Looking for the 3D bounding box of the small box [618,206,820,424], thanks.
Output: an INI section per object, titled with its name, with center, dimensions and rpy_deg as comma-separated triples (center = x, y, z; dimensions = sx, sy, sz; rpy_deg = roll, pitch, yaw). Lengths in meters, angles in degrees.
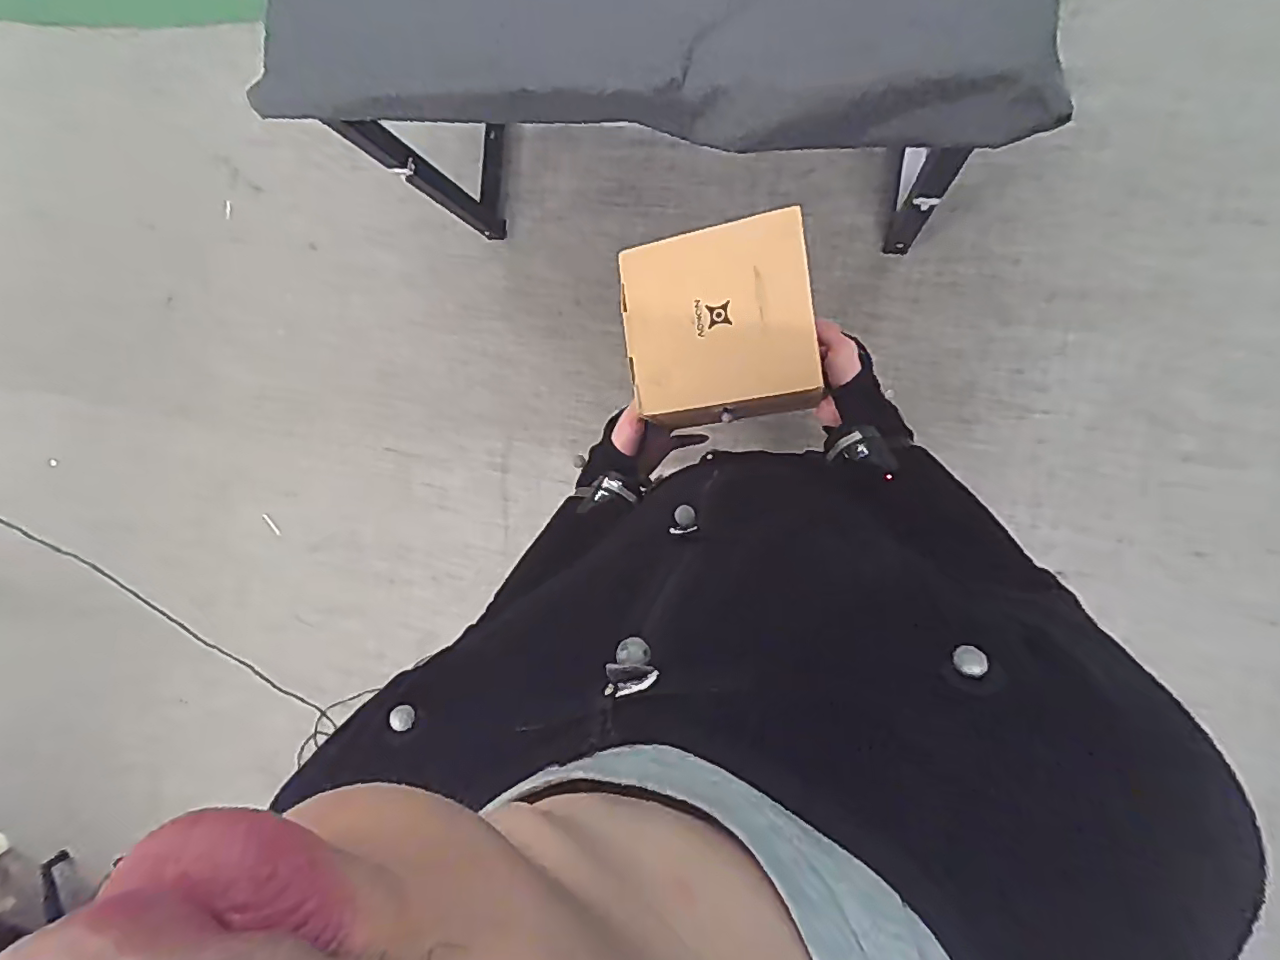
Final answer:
[small box]
center = 0.093, -0.156, 0.580
dimensions = 0.179, 0.176, 0.168
rpy_deg = -7, 90, 17
